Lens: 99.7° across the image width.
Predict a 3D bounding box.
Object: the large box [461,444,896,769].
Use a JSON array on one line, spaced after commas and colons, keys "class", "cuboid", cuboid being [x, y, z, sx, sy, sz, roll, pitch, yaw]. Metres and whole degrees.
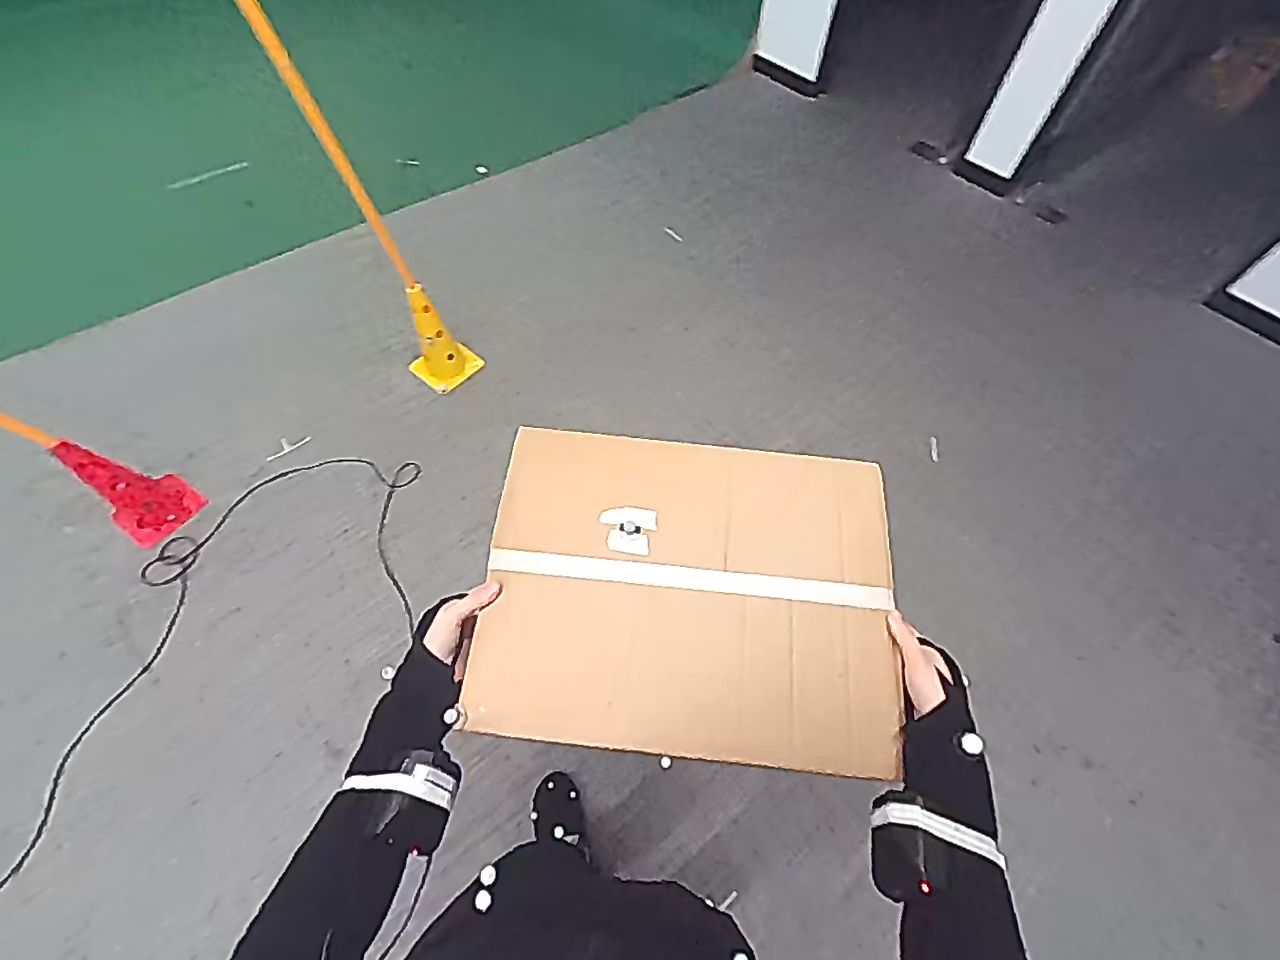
[{"class": "large box", "cuboid": [0.045, 0.170, 0.686, 0.408, 0.320, 0.320, 4, 64, 2]}]
